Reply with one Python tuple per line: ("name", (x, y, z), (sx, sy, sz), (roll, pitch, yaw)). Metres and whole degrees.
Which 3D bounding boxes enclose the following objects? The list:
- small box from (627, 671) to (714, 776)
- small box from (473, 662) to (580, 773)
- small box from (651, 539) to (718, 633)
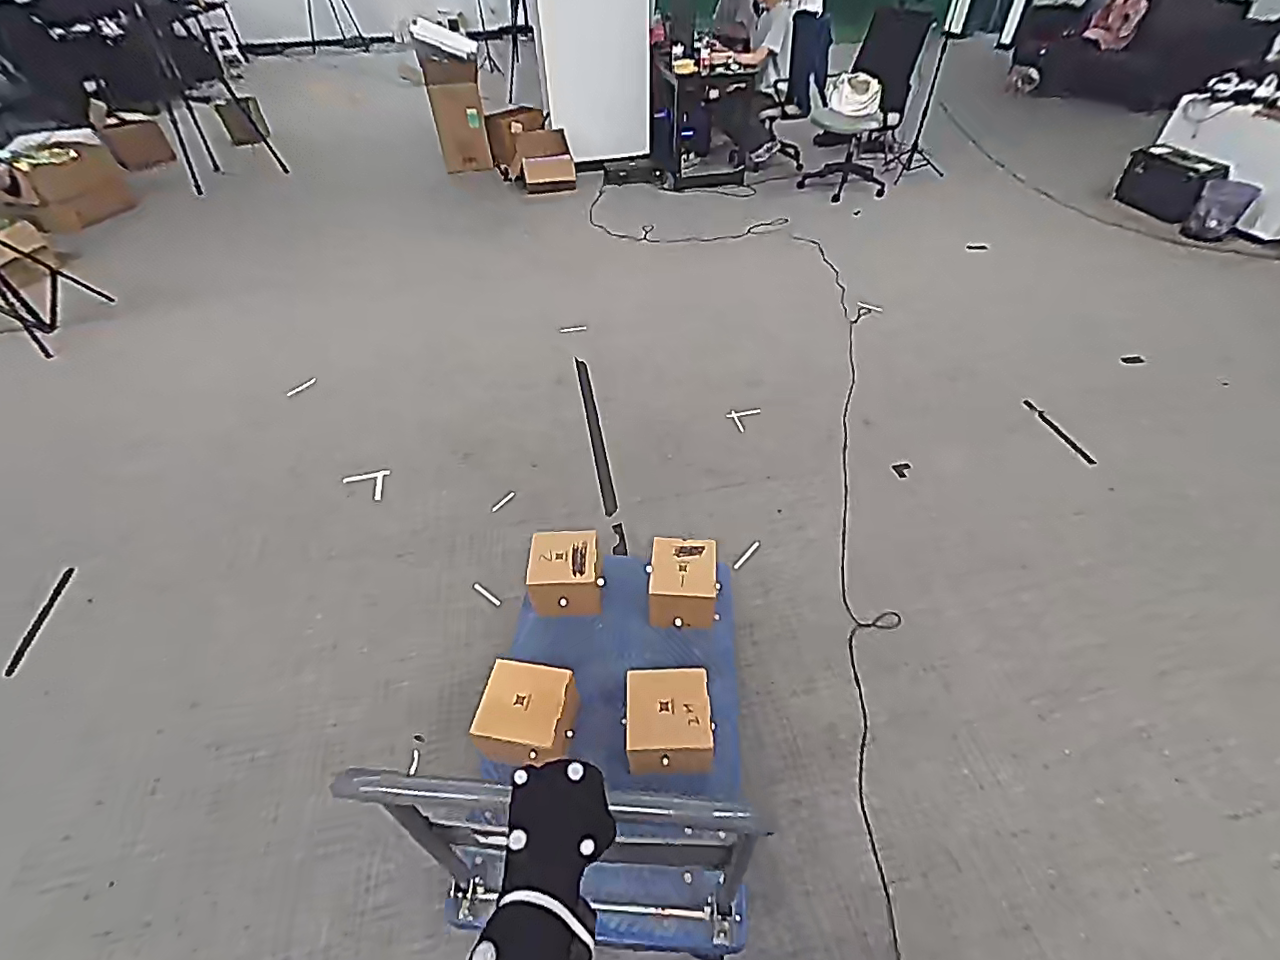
("small box", (0.065, 0.533, 1.179), (0.179, 0.176, 0.168), (-2, 46, 1))
("small box", (-0.242, 0.529, 1.199), (0.179, 0.176, 0.168), (6, 46, 7))
("small box", (0.117, 0.279, 1.426), (0.168, 0.176, 0.179), (2, 47, 5))
